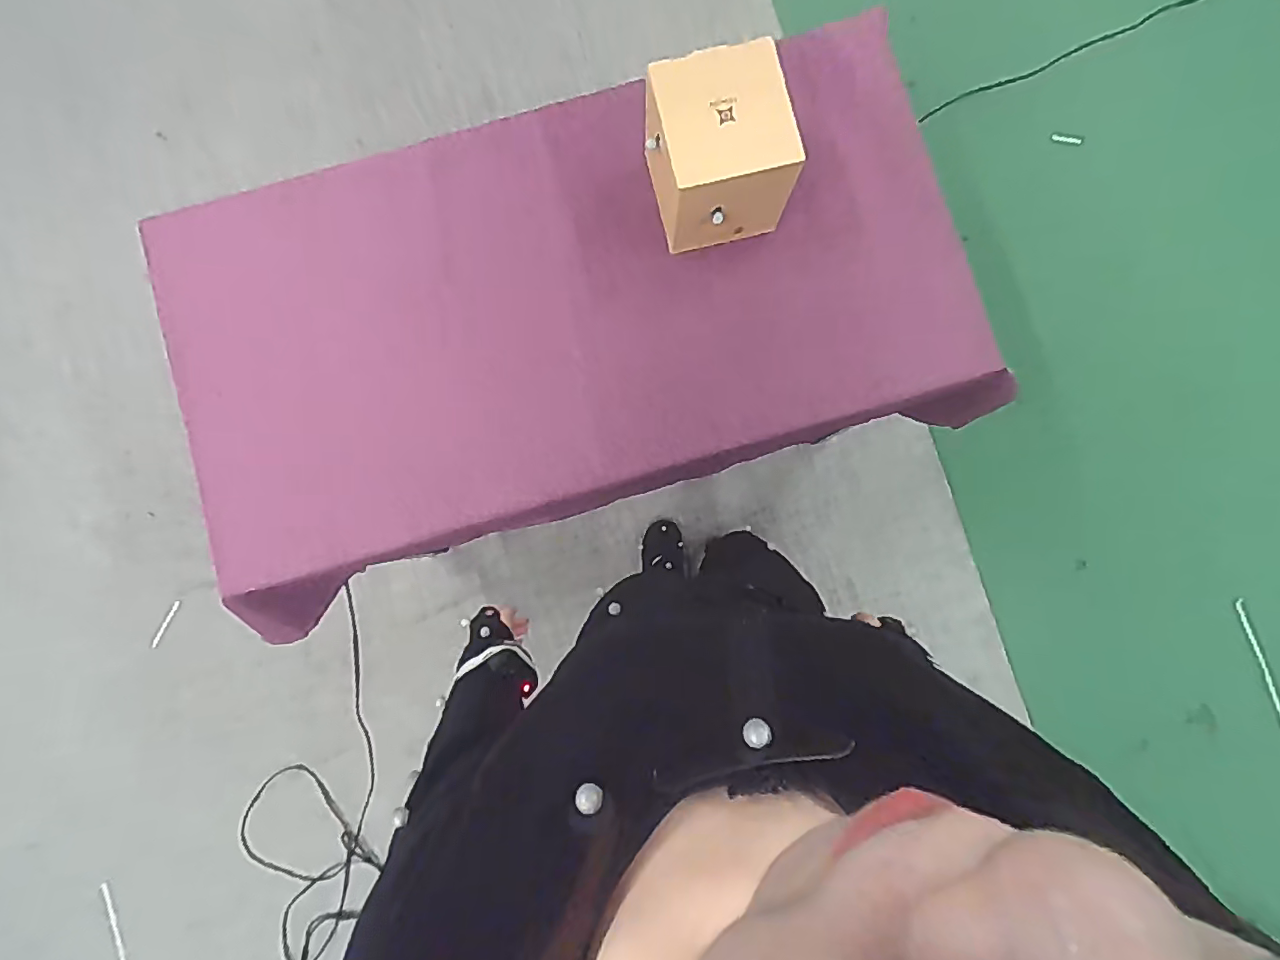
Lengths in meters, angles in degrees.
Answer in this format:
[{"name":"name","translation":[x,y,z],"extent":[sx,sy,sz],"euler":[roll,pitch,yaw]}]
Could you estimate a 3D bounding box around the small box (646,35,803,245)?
[{"name":"small box","translation":[0.109,-0.453,0.754],"extent":[0.168,0.176,0.179],"euler":[-13,84,0]}]
